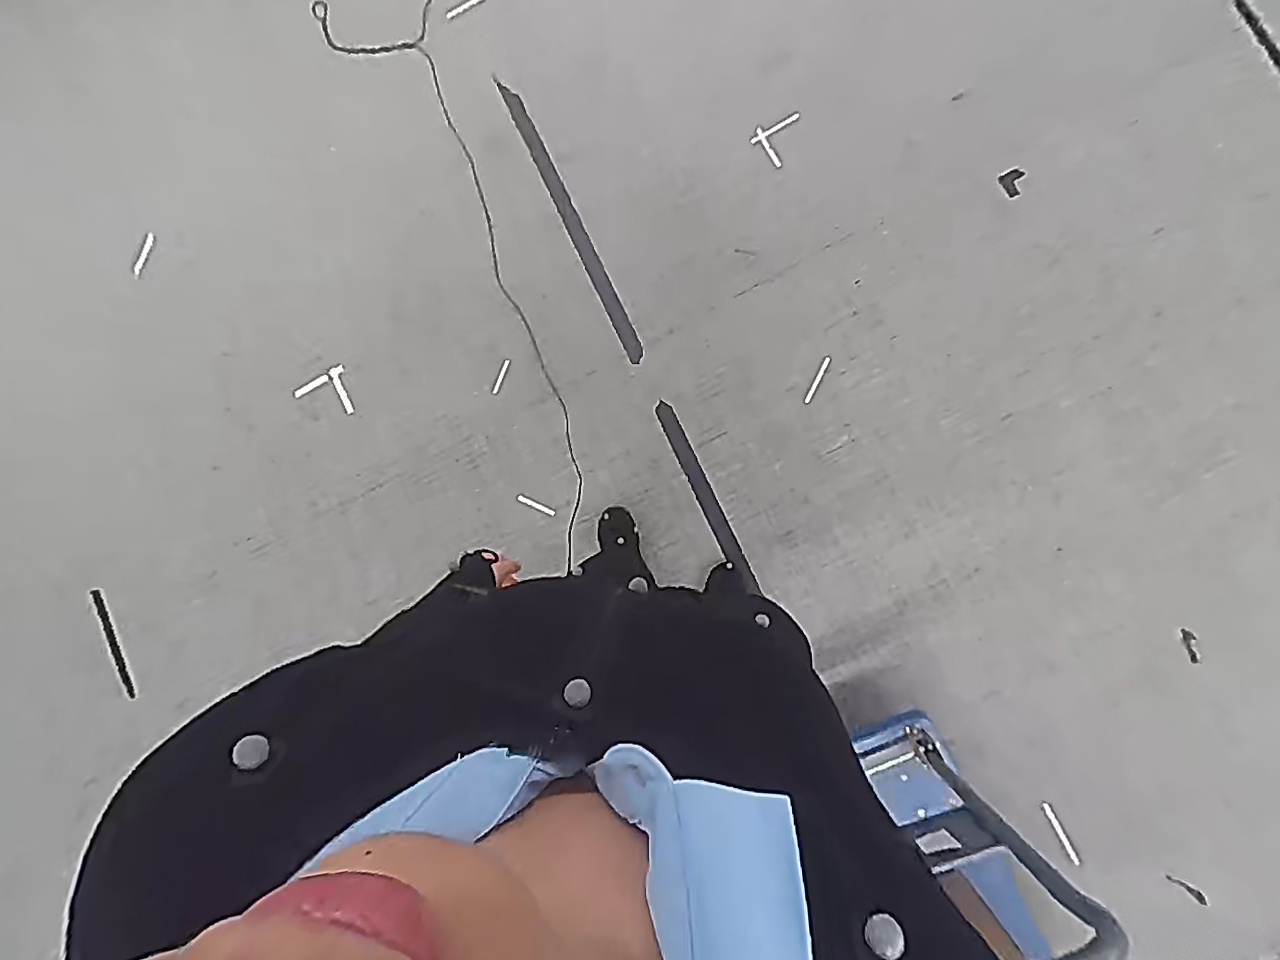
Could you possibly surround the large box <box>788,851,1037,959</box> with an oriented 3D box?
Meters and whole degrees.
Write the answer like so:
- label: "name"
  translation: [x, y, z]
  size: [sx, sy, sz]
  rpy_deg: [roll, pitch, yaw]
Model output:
- label: "large box"
  translation: [0.553, 1.019, 1.042]
  size: [0.408, 0.320, 0.320]
  rpy_deg: [-24, 83, 3]
